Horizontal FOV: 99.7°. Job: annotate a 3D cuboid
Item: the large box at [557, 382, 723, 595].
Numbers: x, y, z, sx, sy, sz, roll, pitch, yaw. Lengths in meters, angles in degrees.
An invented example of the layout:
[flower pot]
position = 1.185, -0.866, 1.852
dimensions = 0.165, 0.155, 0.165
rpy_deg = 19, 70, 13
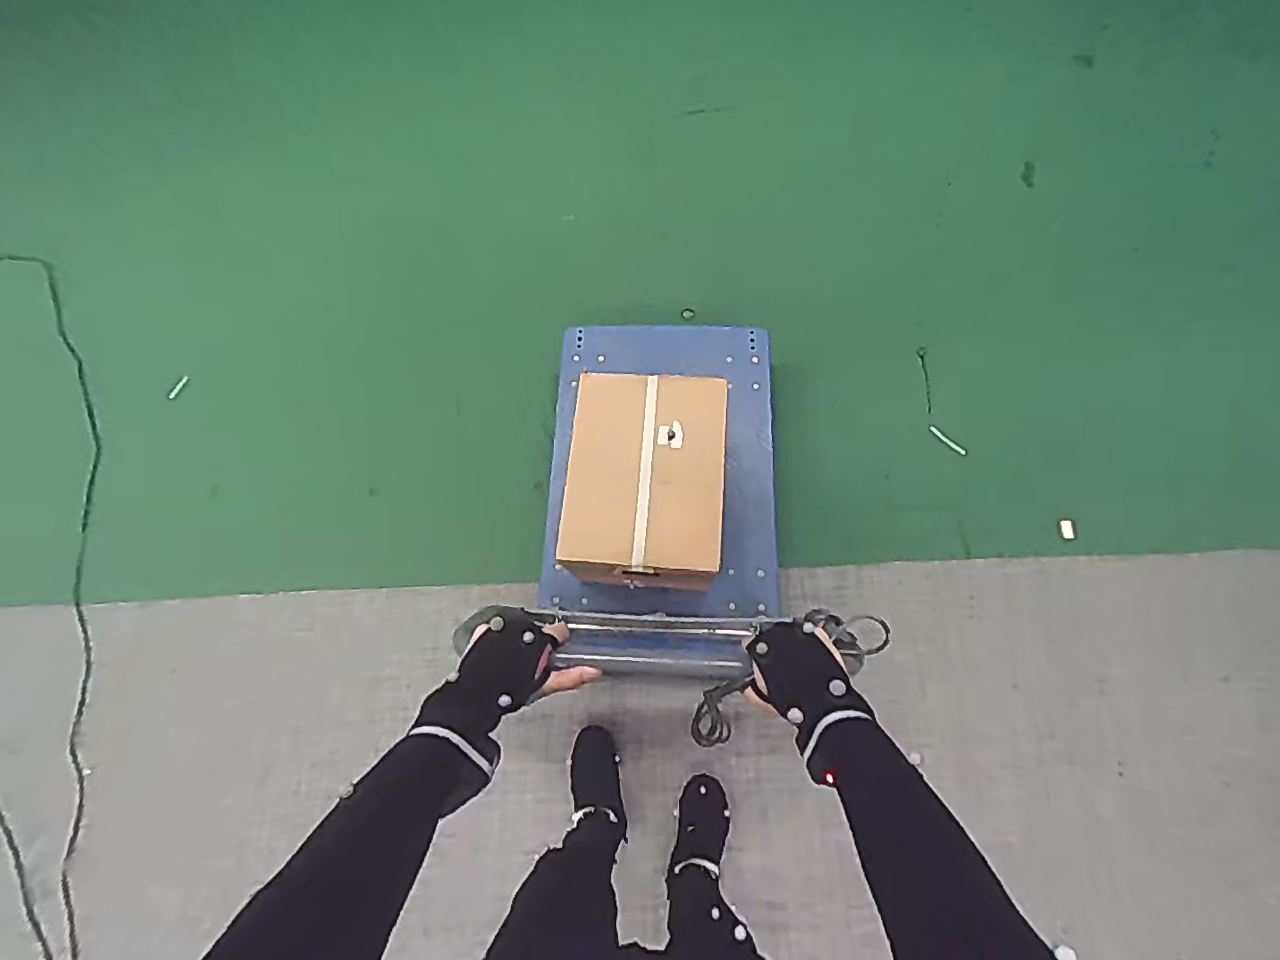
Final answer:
[large box]
position = 0.016, 0.035, 1.221
dimensions = 0.320, 0.320, 0.408
rpy_deg = 4, 71, 4
